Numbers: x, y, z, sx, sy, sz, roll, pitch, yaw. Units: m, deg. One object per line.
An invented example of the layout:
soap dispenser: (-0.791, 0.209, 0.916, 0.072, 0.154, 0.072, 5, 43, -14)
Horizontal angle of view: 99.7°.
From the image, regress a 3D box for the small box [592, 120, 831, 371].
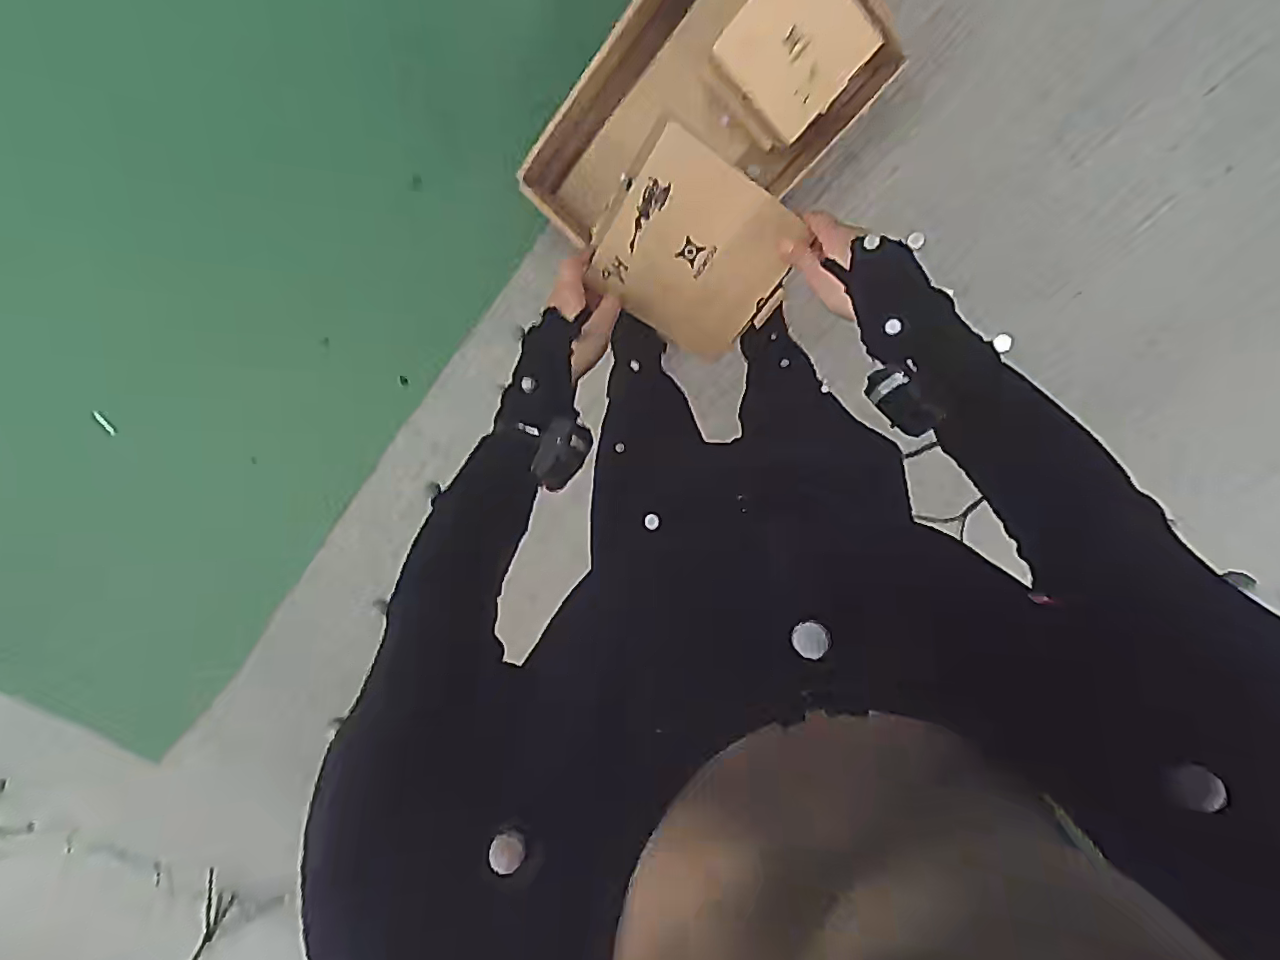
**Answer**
small box: (0.065, -0.255, 0.582, 0.179, 0.176, 0.168, 26, 122, -20)

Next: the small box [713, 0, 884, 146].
small box: (0.224, -0.636, 0.816, 0.179, 0.176, 0.168, 39, 116, -17)
